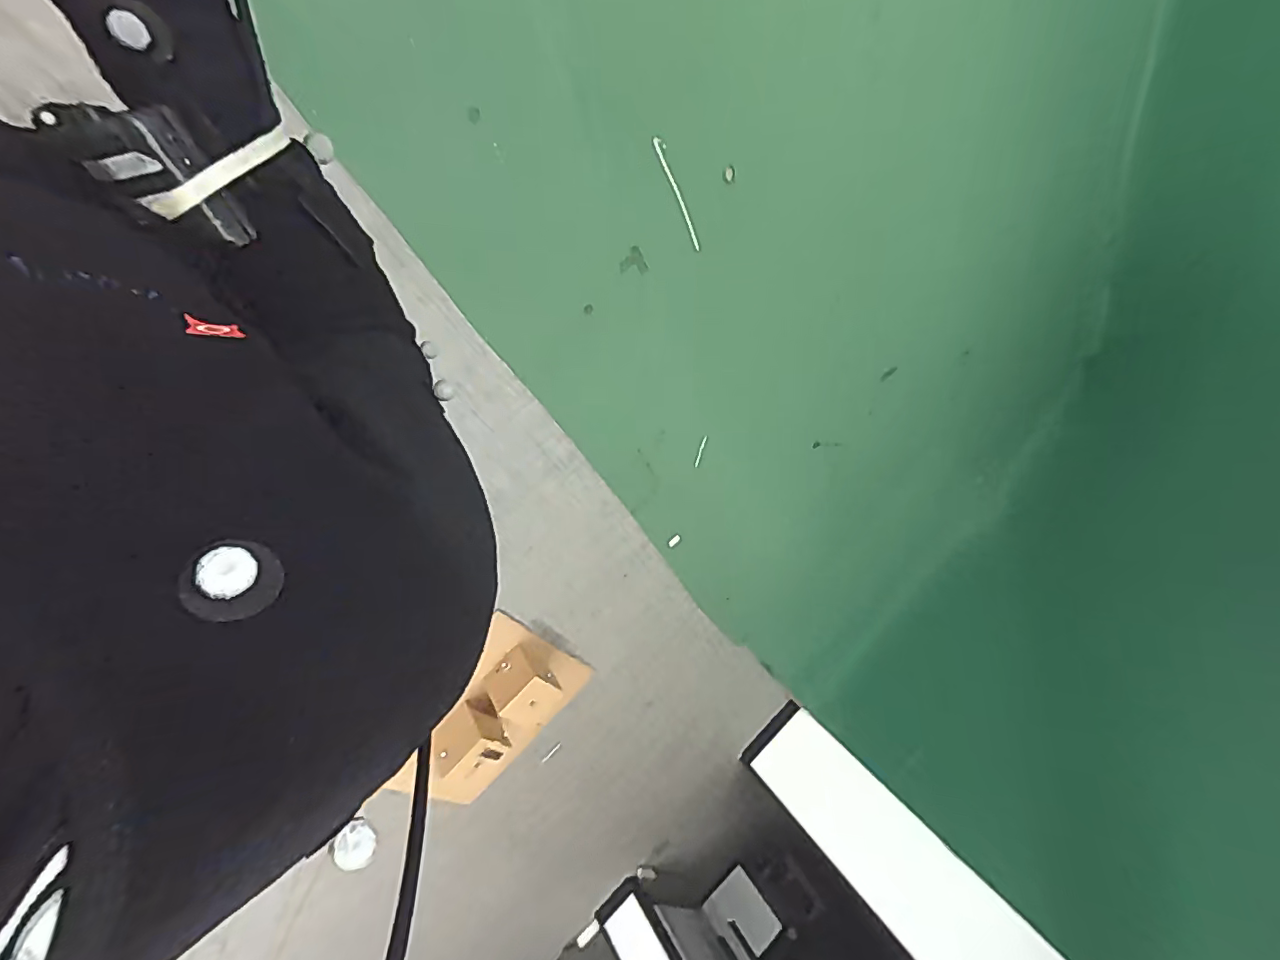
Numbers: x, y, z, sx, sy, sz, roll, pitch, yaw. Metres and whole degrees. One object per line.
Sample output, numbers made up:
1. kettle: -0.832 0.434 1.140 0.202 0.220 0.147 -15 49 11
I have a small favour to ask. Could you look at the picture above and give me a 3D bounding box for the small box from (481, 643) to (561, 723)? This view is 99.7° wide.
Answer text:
1. small box: -0.406 0.685 1.836 0.168 0.176 0.179 -46 132 -7
